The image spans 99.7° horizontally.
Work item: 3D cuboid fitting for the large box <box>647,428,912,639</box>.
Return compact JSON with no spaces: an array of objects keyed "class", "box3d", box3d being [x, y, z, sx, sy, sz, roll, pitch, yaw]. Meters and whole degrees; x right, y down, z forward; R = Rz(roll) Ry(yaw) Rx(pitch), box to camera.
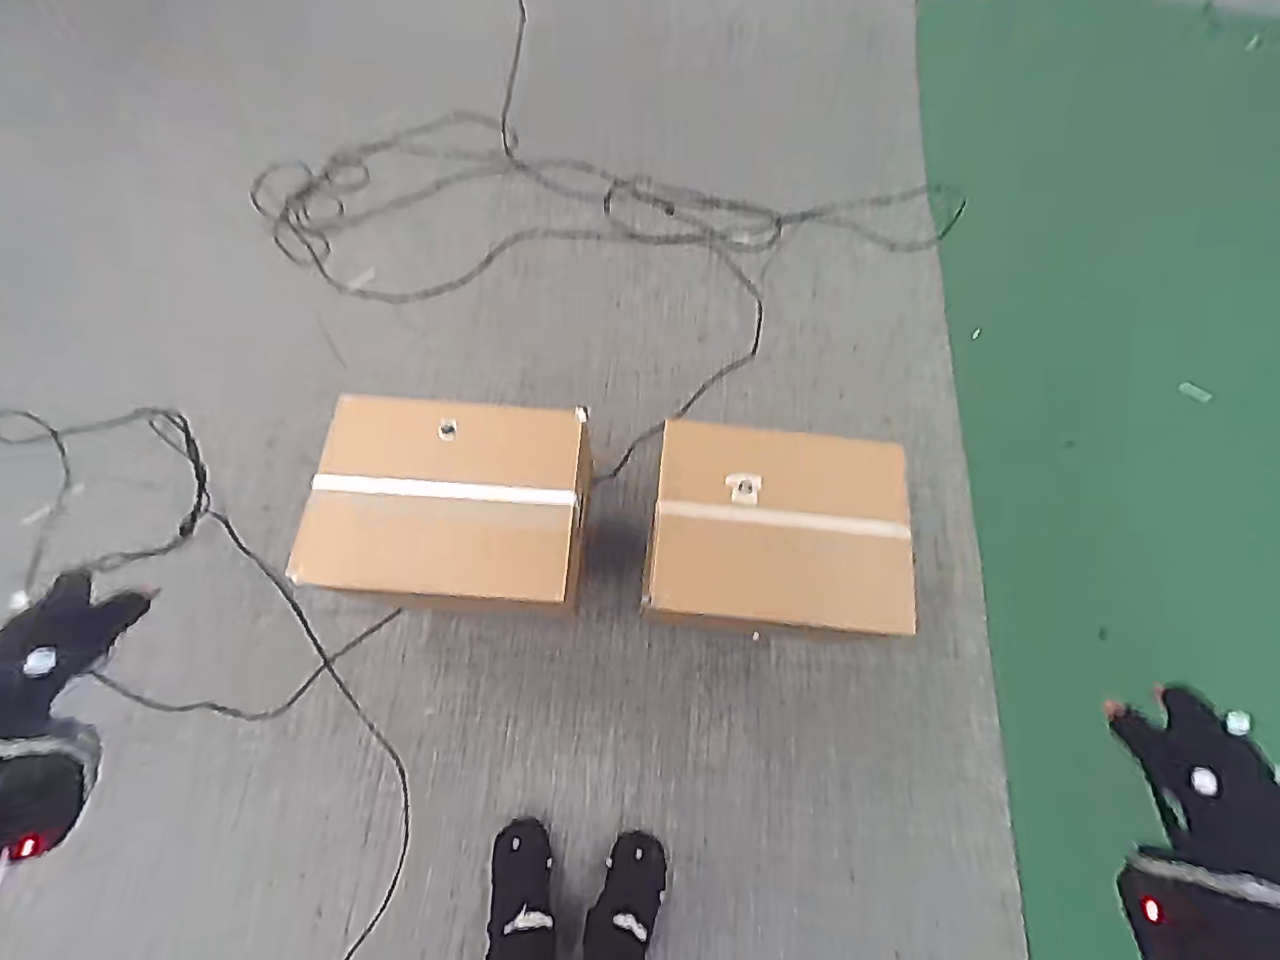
[{"class":"large box","box3d":[0.230,0.119,1.011,0.408,0.320,0.320,6,71,0]}]
